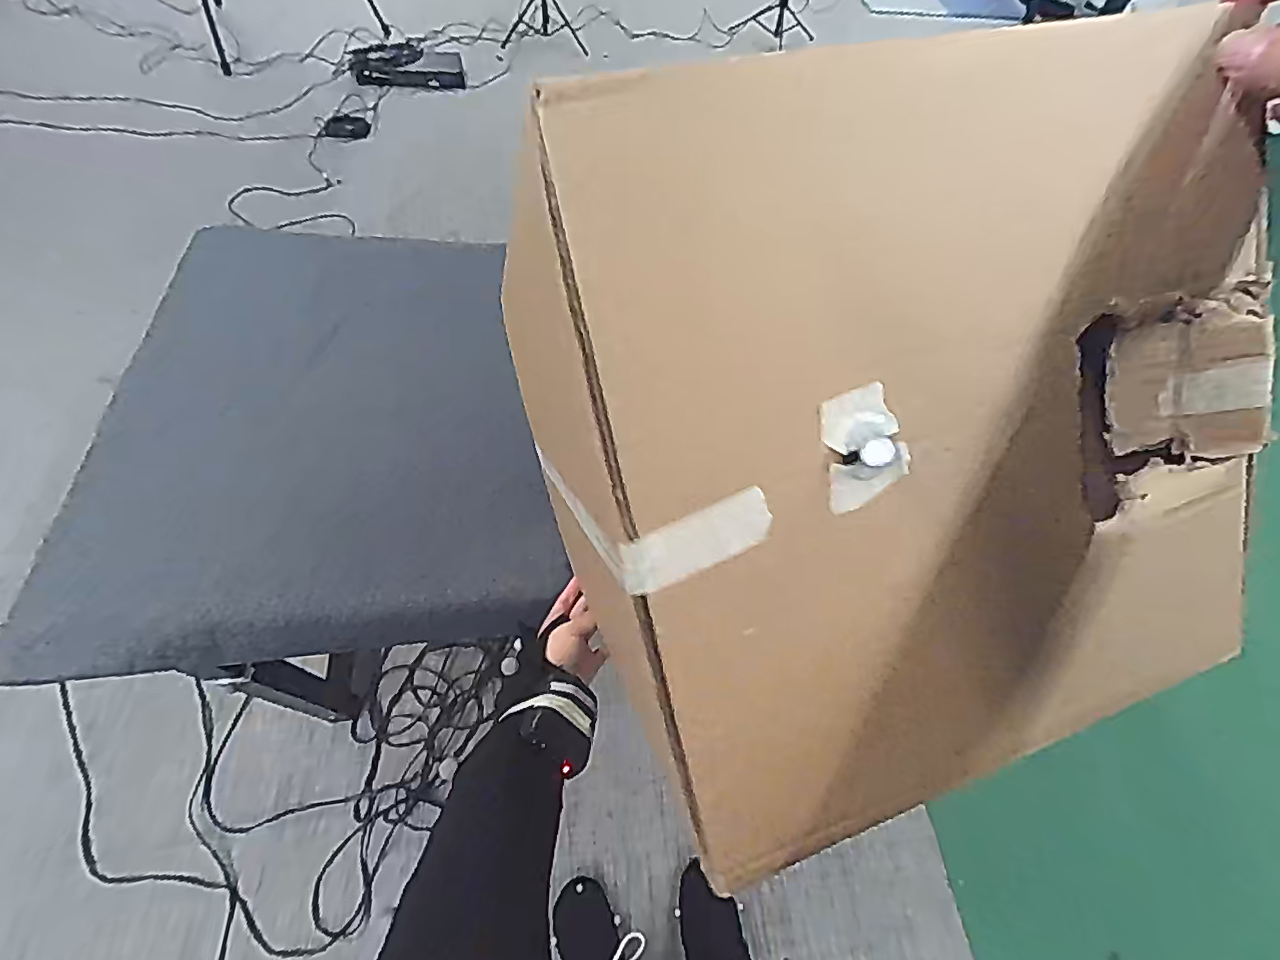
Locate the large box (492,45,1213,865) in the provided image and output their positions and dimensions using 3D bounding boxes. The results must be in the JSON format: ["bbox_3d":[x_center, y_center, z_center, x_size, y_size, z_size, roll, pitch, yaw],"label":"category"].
[{"bbox_3d":[0.086,-0.042,0.419,0.320,0.408,0.320,-17,104,-14],"label":"large box"}]
